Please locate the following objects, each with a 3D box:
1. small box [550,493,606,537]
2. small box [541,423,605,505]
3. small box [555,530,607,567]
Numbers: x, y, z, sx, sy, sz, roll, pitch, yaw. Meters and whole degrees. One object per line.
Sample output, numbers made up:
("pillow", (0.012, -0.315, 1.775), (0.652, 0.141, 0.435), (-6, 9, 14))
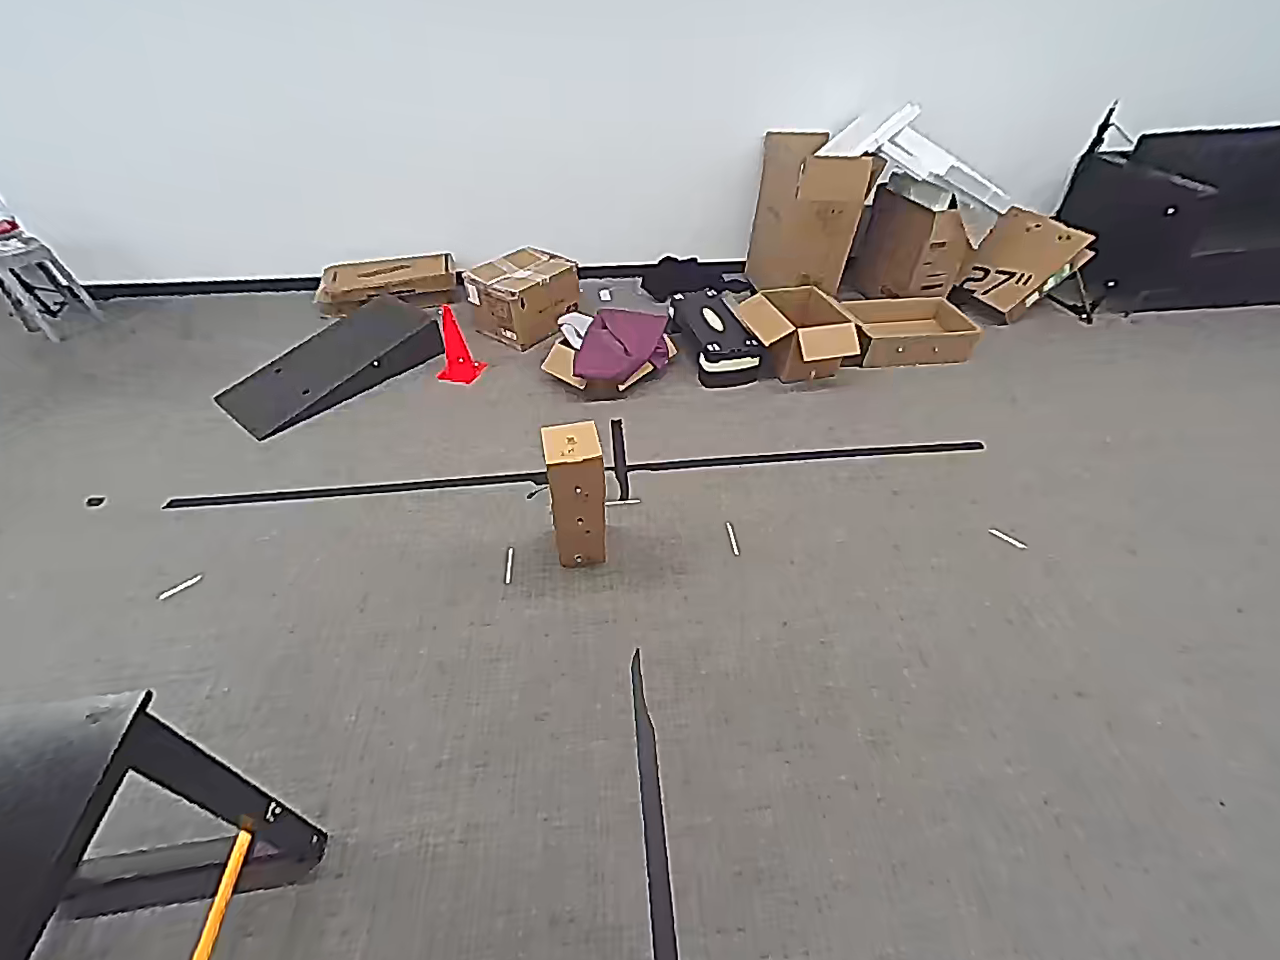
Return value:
("small box", (-0.202, 0.071, 1.764), (0.168, 0.176, 0.179), (-6, 44, -5))
("small box", (-0.204, -0.049, 1.649), (0.168, 0.176, 0.179), (-10, 44, -8))
("small box", (-0.208, 0.179, 1.888), (0.168, 0.176, 0.179), (-6, 45, -6))
